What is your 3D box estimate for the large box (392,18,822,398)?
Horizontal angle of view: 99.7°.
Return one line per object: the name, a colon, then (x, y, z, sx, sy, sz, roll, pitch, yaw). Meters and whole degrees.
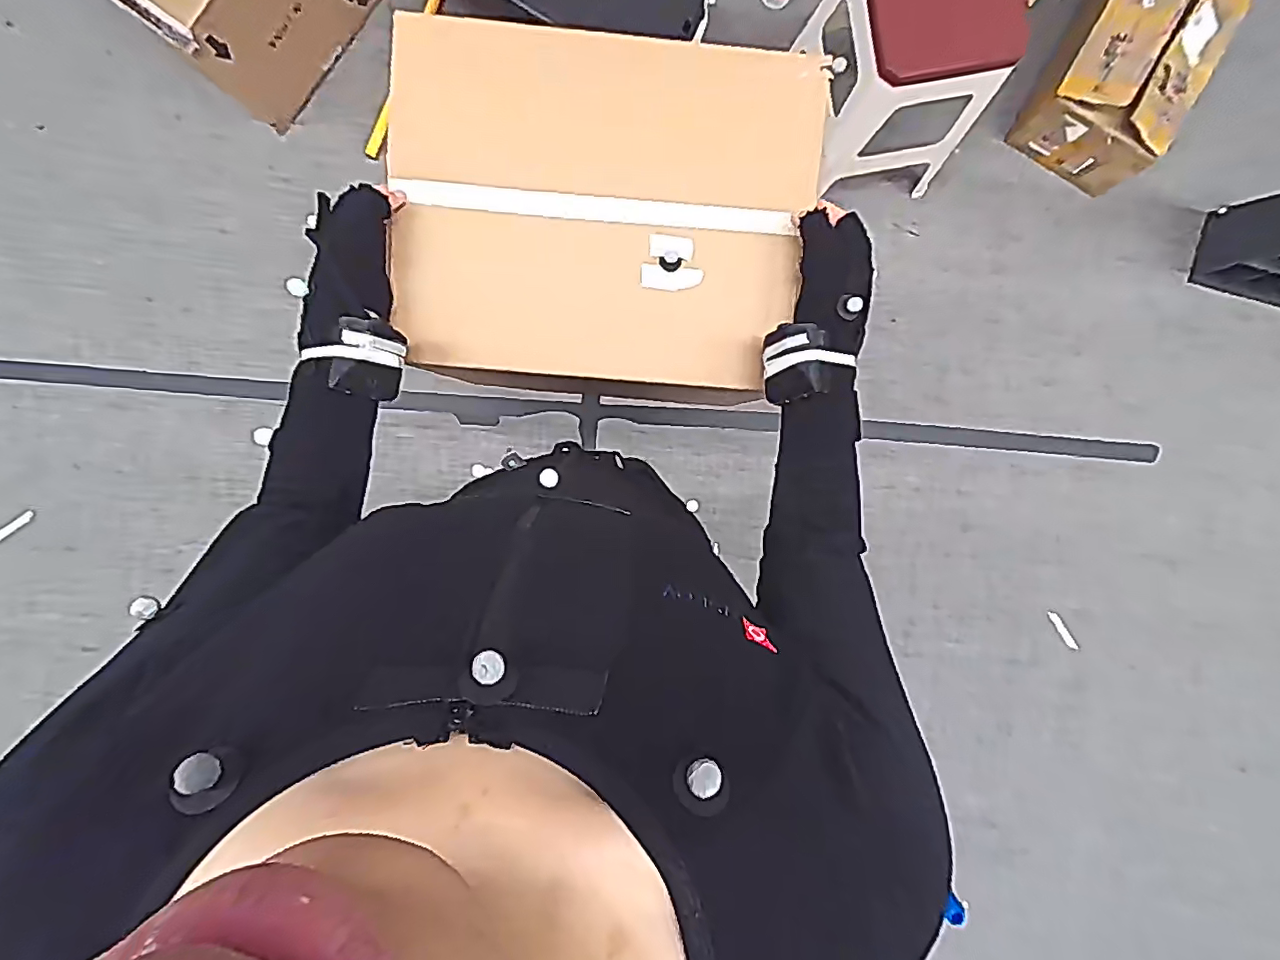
large box: (-0.041, -0.275, 0.665, 0.408, 0.320, 0.320, 4, 96, -3)
